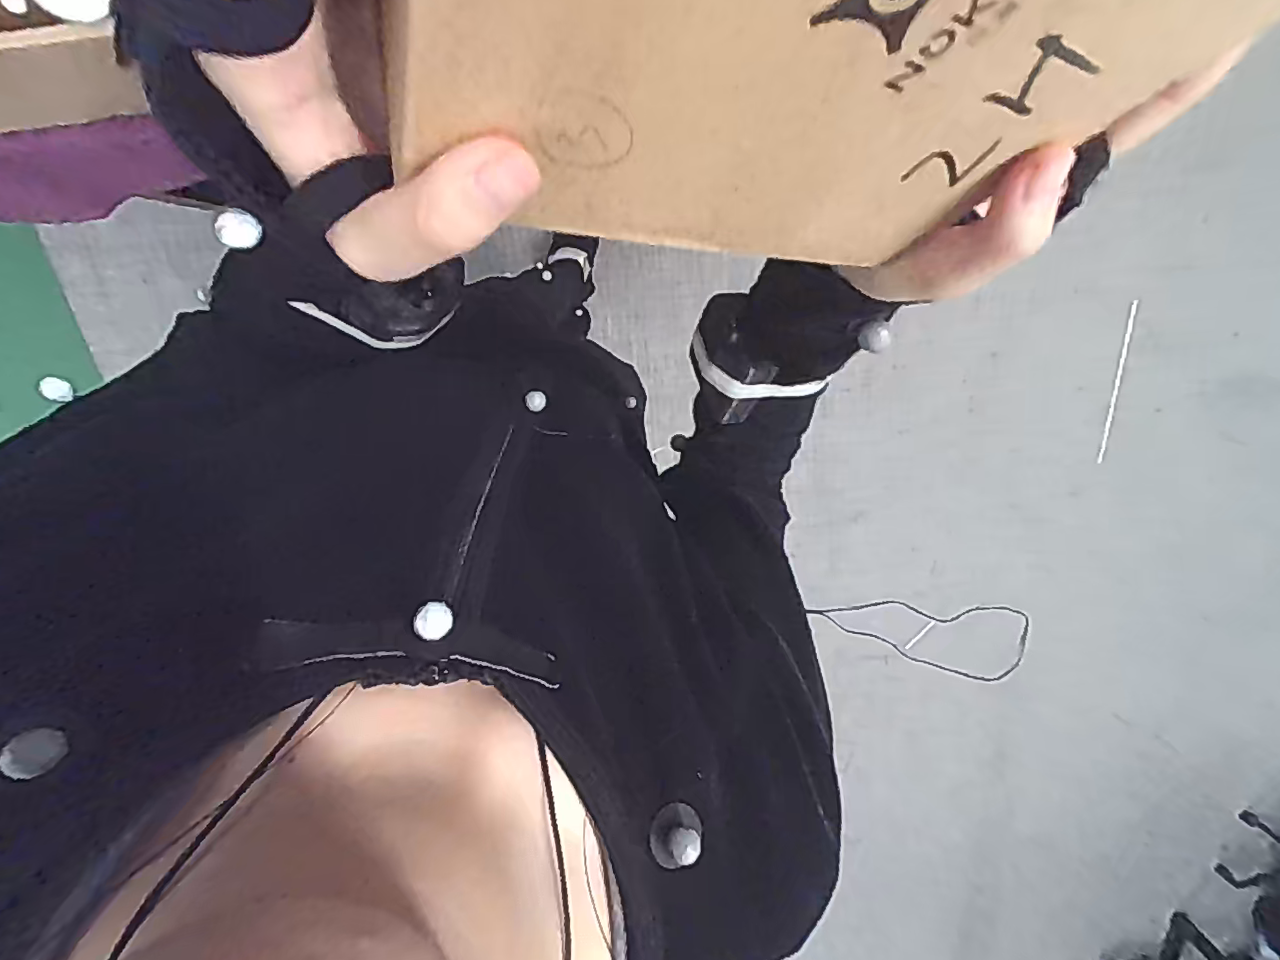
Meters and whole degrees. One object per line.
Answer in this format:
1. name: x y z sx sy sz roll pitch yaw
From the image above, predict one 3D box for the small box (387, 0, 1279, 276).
1. small box: 0.041 -0.167 0.111 0.179 0.168 0.176 -5 85 -26
